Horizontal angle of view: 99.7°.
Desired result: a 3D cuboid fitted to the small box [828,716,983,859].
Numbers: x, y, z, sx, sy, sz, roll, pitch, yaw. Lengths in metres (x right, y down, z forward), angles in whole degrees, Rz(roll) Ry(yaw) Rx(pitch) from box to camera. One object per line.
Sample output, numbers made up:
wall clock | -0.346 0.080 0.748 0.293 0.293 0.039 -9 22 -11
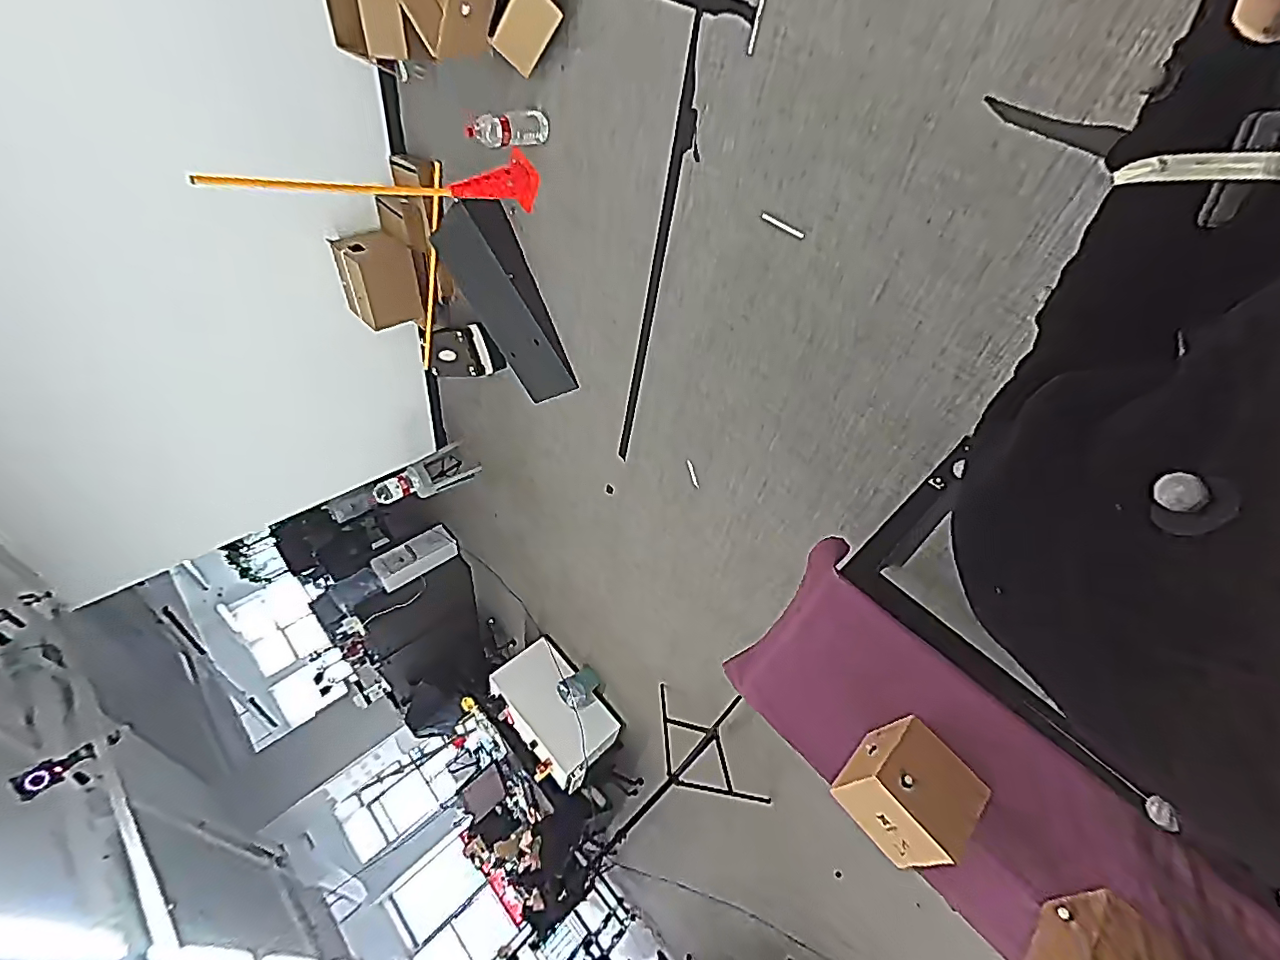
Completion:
small box | 0.510 0.585 1.044 0.179 0.176 0.168 45 145 18

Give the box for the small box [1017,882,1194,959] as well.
small box | 0.773 0.814 0.887 0.179 0.176 0.168 41 142 26
